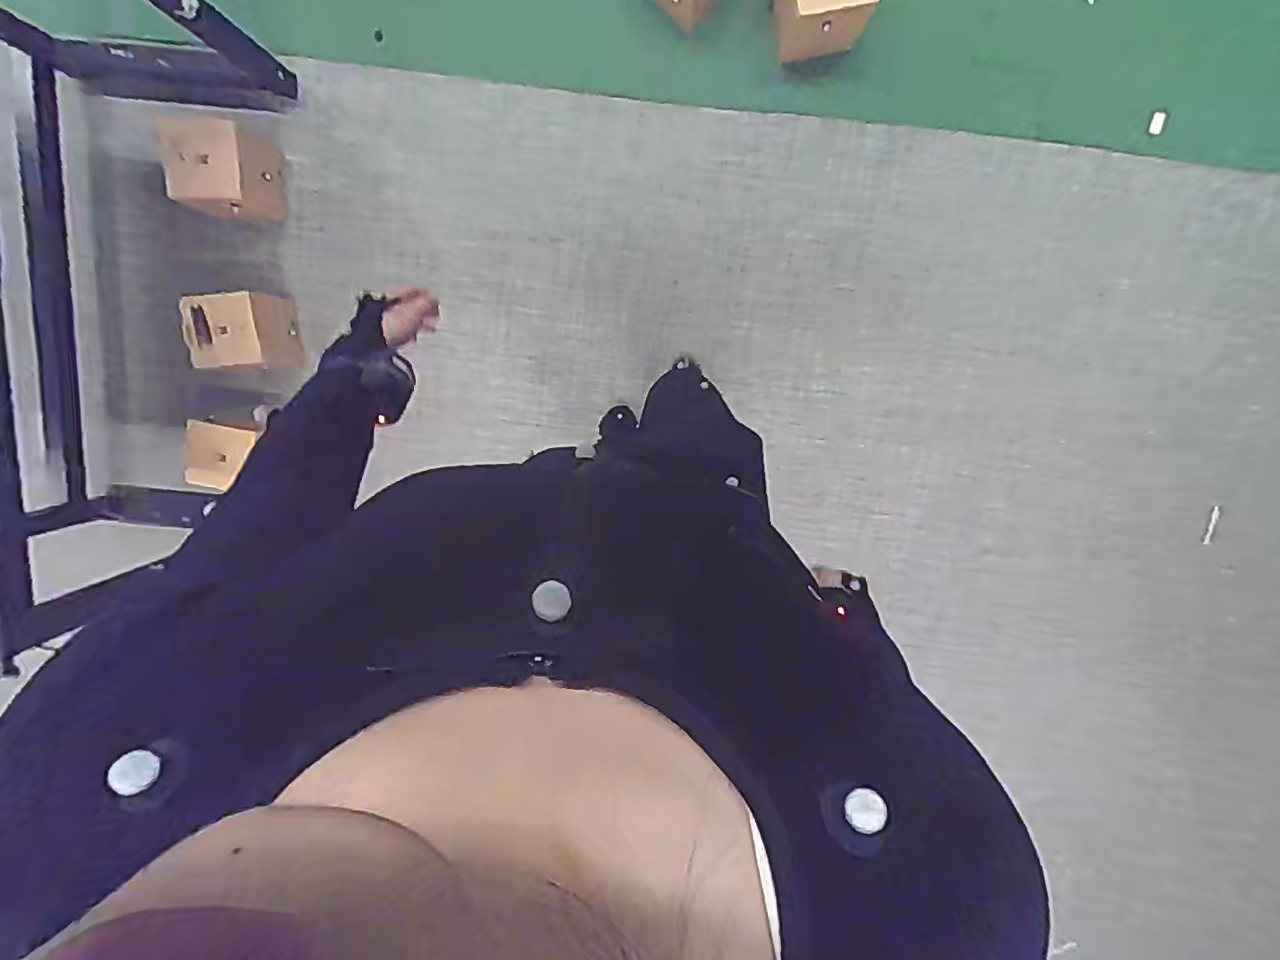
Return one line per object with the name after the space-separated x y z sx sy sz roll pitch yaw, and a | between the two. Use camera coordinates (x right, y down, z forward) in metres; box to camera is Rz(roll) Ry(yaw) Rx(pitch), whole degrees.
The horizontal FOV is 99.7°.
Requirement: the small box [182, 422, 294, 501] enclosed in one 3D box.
-1.044 -0.056 1.417 0.179 0.176 0.168 10 101 0 | small box

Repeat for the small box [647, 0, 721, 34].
0.105 -1.144 1.191 0.179 0.176 0.168 41 98 -5 | small box

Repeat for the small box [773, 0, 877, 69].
0.400 -1.056 1.199 0.179 0.176 0.168 -9 100 2 | small box

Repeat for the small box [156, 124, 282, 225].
-0.989 -0.721 1.290 0.179 0.176 0.168 2 100 1 | small box
